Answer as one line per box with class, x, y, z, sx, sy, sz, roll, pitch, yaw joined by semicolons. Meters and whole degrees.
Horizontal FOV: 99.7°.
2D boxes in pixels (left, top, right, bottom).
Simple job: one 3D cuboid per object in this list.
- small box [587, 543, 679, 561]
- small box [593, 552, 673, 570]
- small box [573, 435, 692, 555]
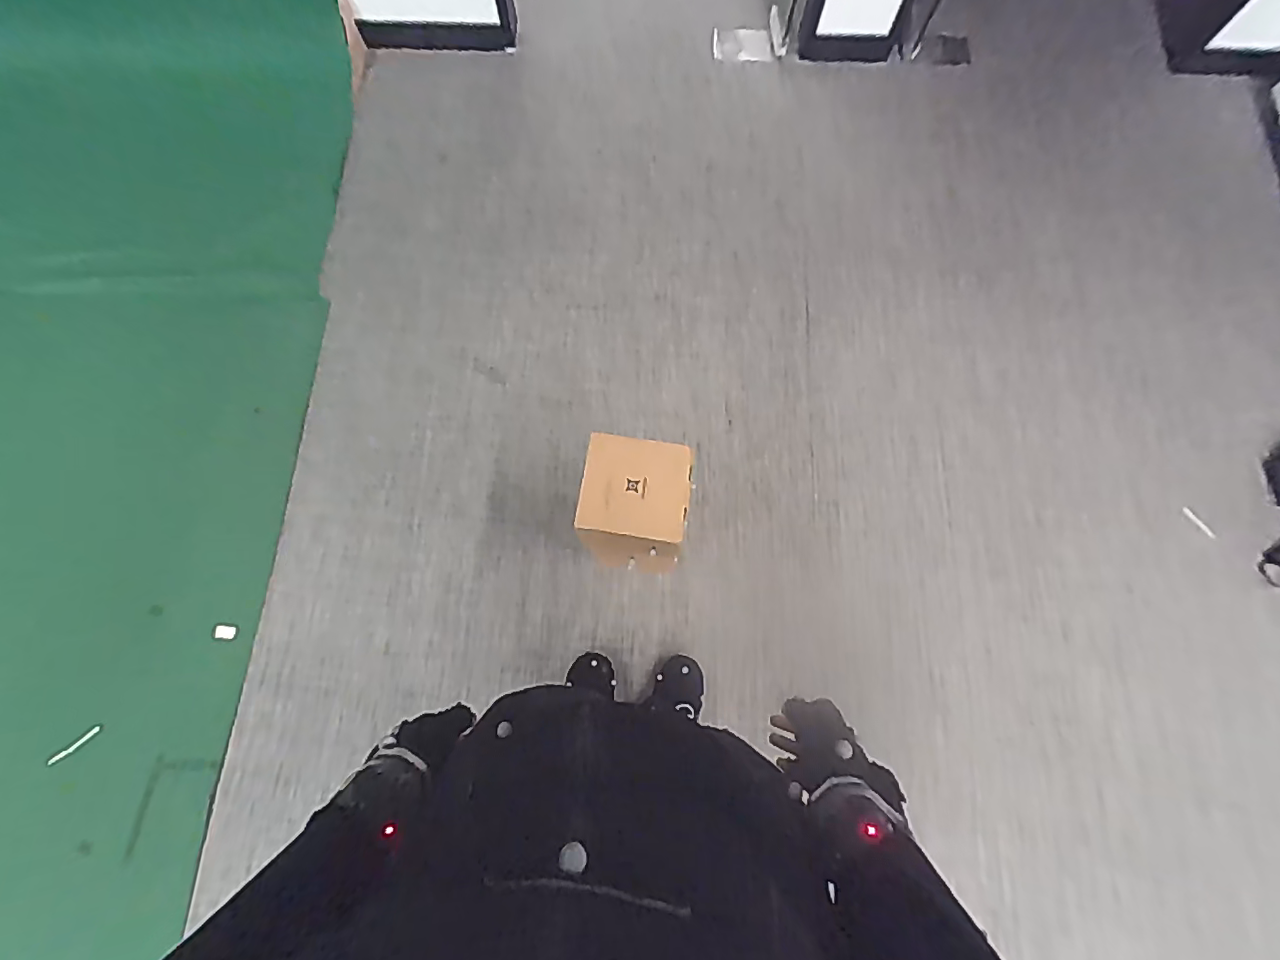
small box;-0.006;0.074;1.115;0.179;0.176;0.168;5;76;3
small box;-0.004;0.115;1.271;0.179;0.176;0.168;7;75;4
small box;-0.009;0.034;0.955;0.179;0.176;0.168;7;74;4
